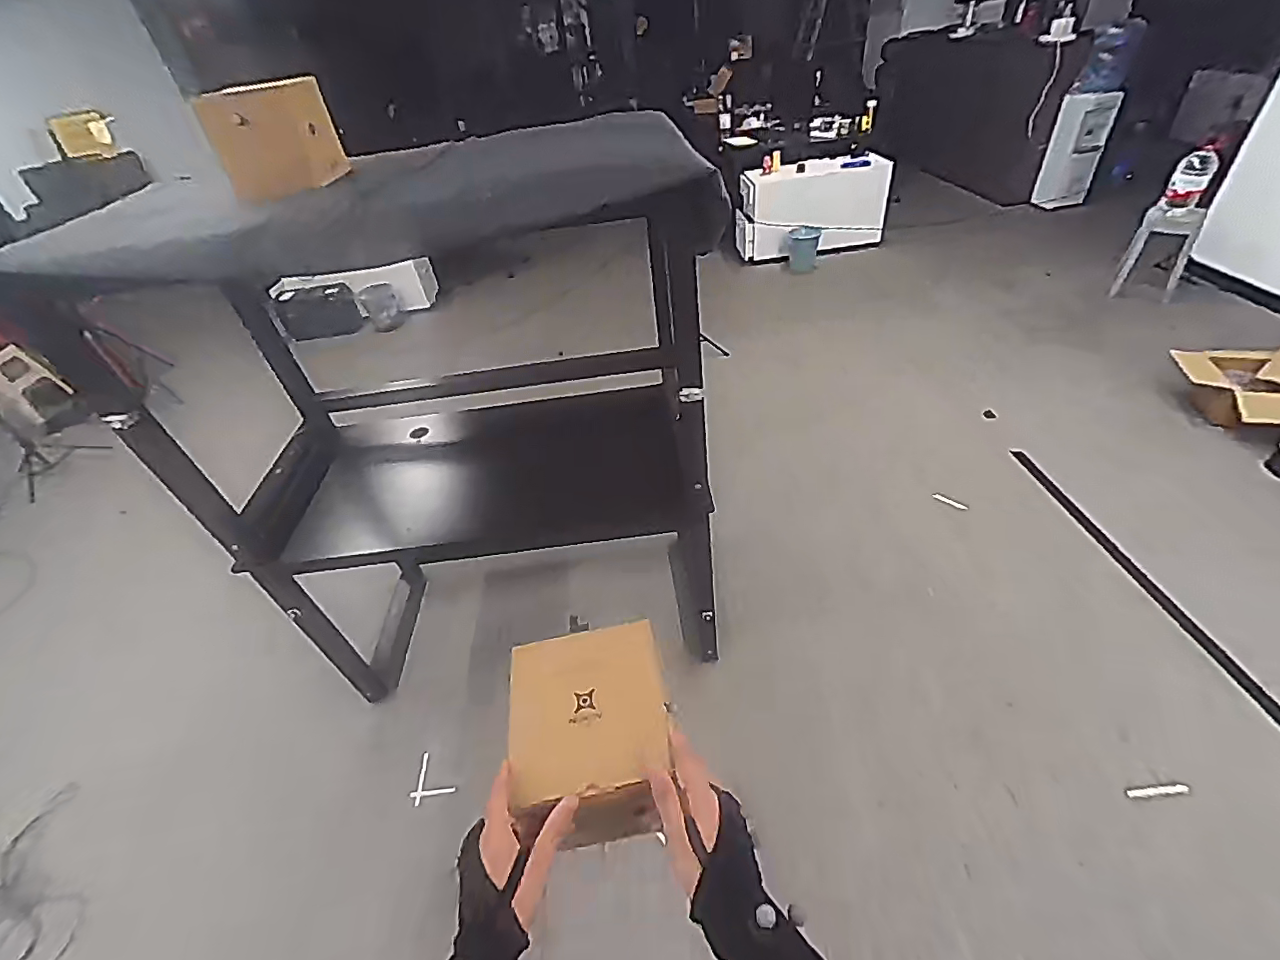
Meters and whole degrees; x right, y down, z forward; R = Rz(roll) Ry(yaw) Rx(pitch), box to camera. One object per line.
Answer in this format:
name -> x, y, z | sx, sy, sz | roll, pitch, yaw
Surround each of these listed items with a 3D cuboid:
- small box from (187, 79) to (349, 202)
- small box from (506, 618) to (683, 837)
small box -> -0.715, -0.670, 1.069 | 0.179, 0.176, 0.168 | -7, 41, 2
small box -> -0.049, 0.292, 0.629 | 0.168, 0.176, 0.179 | -11, 45, -1
